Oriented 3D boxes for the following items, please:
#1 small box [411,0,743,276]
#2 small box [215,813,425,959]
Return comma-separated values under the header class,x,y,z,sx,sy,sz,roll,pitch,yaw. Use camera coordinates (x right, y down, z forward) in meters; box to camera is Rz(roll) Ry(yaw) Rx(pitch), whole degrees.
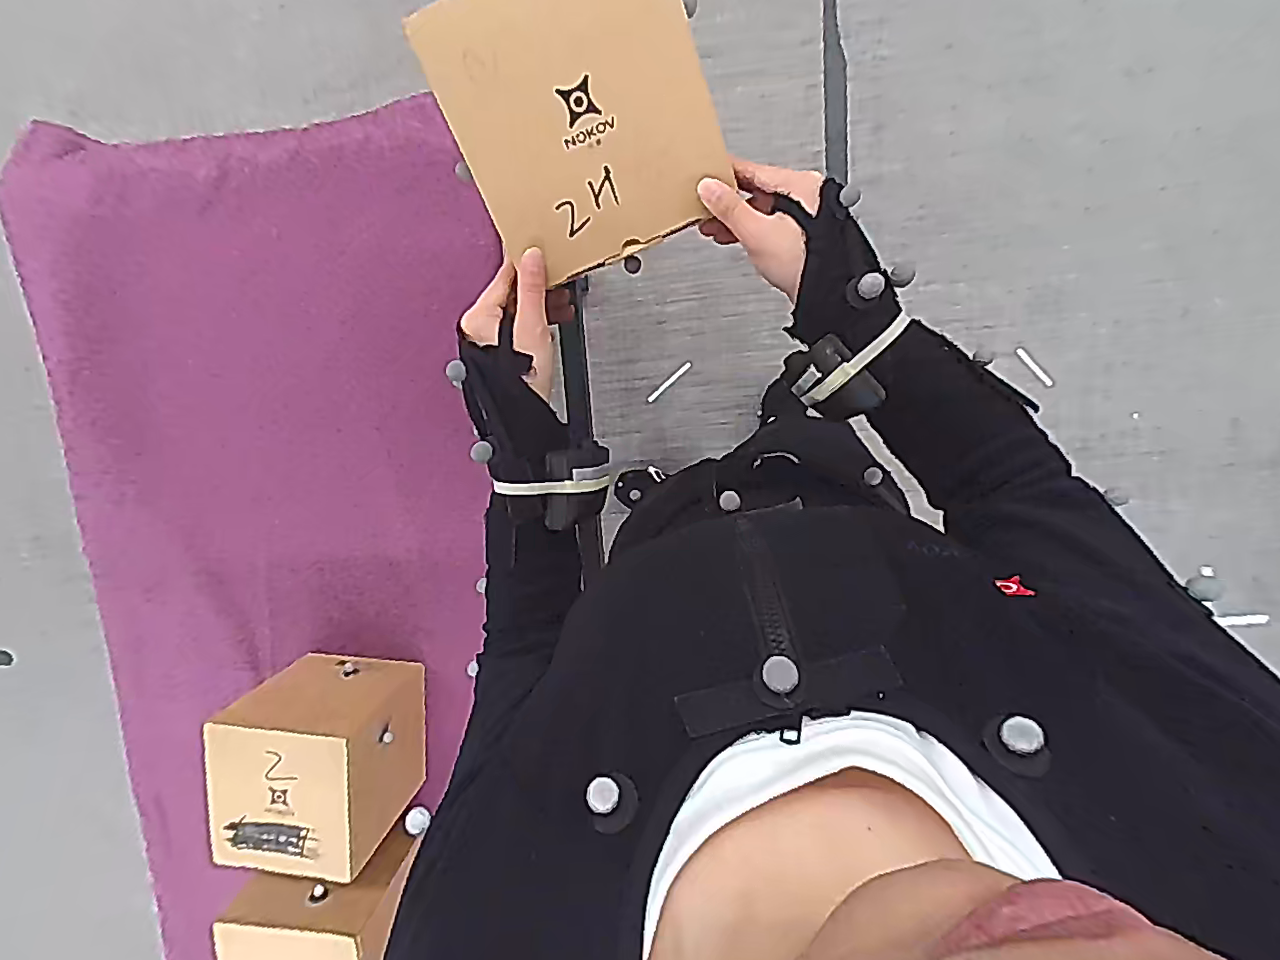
class,x,y,z,sx,sy,sz,roll,pitch,yaw
small box,-0.038,-0.273,0.421,0.168,0.176,0.179,-21,111,6
small box,-0.393,0.567,0.700,0.179,0.176,0.168,2,98,5
